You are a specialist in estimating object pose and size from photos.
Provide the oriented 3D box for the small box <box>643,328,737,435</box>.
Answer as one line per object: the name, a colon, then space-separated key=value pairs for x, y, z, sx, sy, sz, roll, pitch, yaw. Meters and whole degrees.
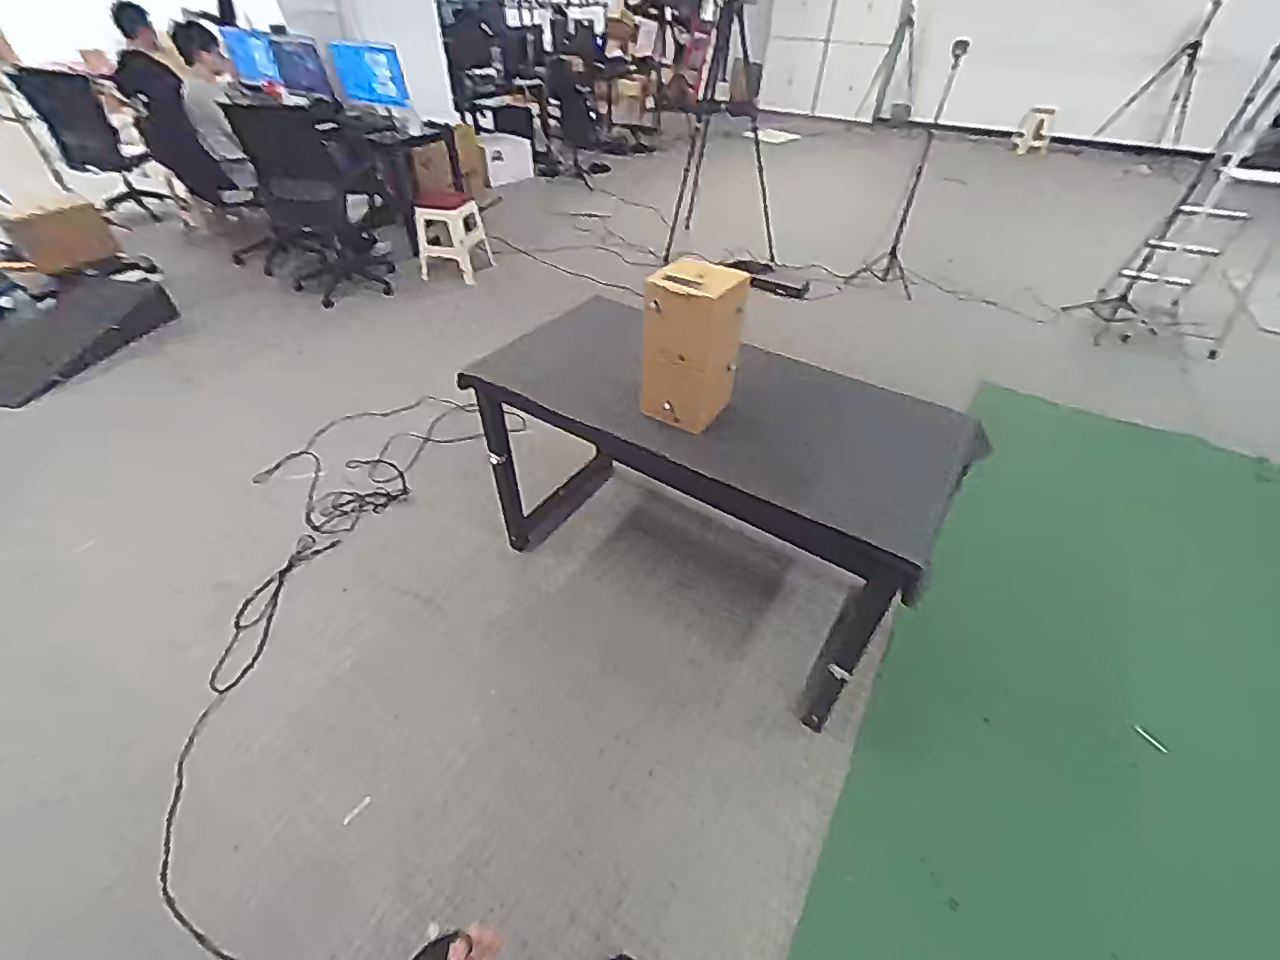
small box: x=0.115 y=-0.239 z=1.308 sx=0.168 sy=0.176 sz=0.179 roll=24 pitch=46 yaw=23
